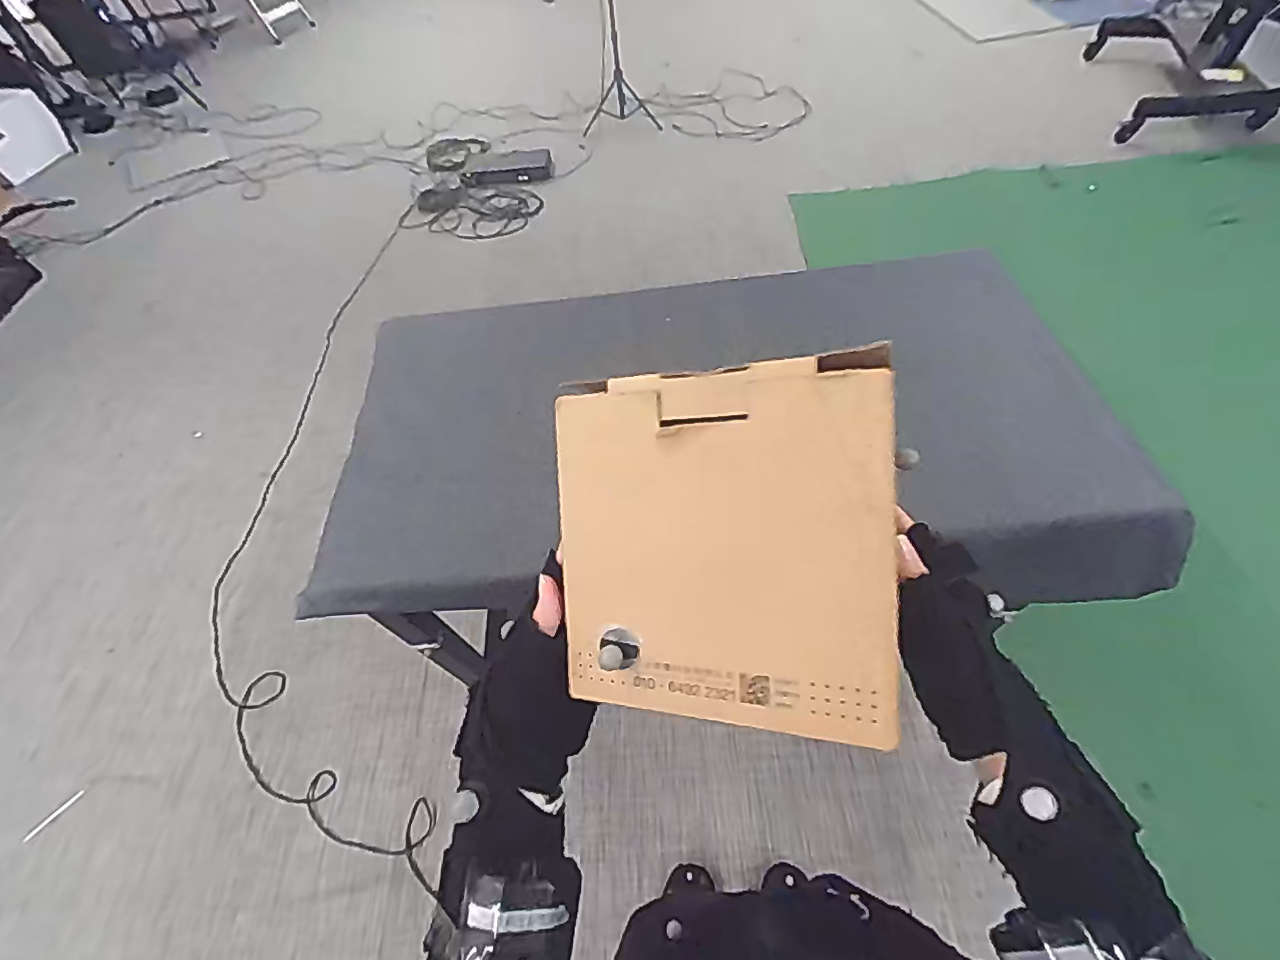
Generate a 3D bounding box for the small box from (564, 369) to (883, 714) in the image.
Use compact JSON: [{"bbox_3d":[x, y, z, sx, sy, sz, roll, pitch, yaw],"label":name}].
[{"bbox_3d":[0.067,0.030,0.354,0.168,0.179,0.176,0,93,23],"label":"small box"}]
